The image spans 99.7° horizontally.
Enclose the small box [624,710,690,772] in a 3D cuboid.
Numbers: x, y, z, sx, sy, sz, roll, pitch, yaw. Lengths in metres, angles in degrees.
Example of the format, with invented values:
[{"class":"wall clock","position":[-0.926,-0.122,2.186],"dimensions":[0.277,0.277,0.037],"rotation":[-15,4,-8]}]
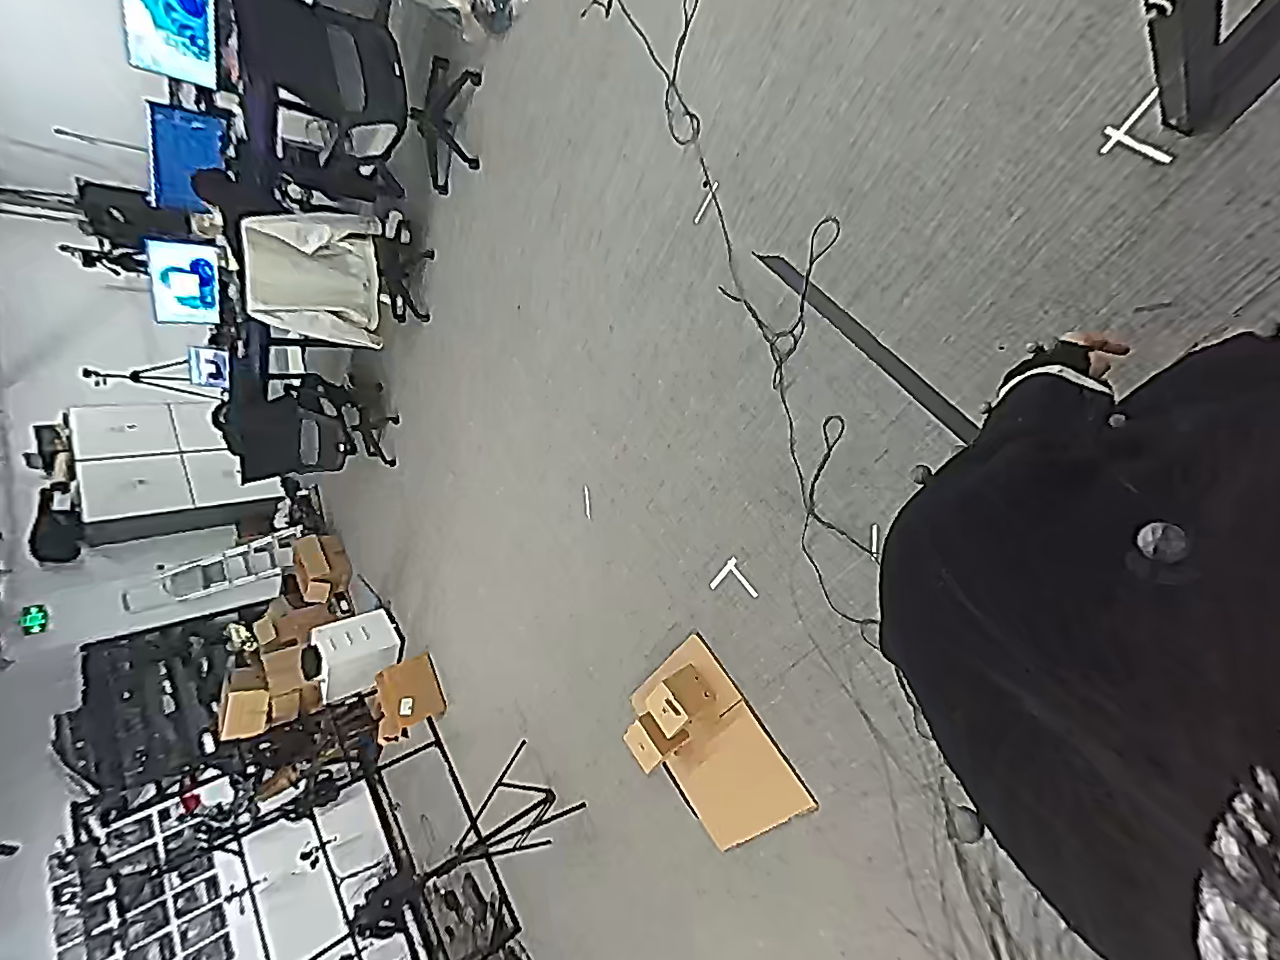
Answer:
[{"class":"small box","position":[0.070,1.053,2.229],"dimensions":[0.179,0.176,0.168],"rotation":[48,130,28]}]

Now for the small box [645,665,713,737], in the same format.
[{"class":"small box","position":[0.157,0.849,2.092],"dimensions":[0.168,0.176,0.179],"rotation":[50,130,27]}]
